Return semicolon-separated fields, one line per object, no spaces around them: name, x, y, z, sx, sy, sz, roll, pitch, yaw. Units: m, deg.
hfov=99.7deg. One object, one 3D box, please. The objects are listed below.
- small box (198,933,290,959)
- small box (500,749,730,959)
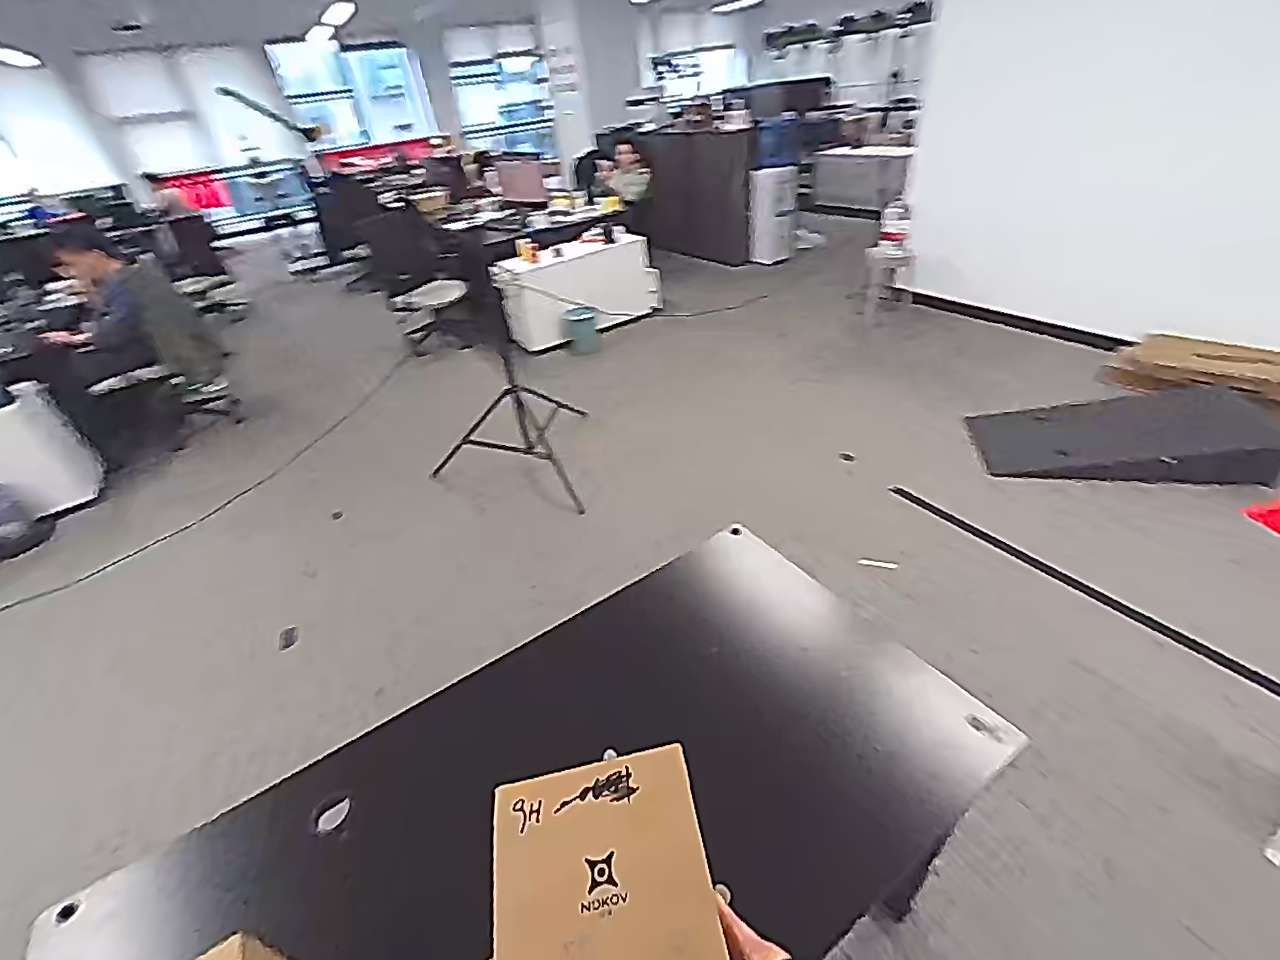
small box;-0.413;0.584;0.495;0.179;0.176;0.168;-25;40;-23
small box;-0.016;0.365;0.470;0.168;0.176;0.179;-12;47;-2
